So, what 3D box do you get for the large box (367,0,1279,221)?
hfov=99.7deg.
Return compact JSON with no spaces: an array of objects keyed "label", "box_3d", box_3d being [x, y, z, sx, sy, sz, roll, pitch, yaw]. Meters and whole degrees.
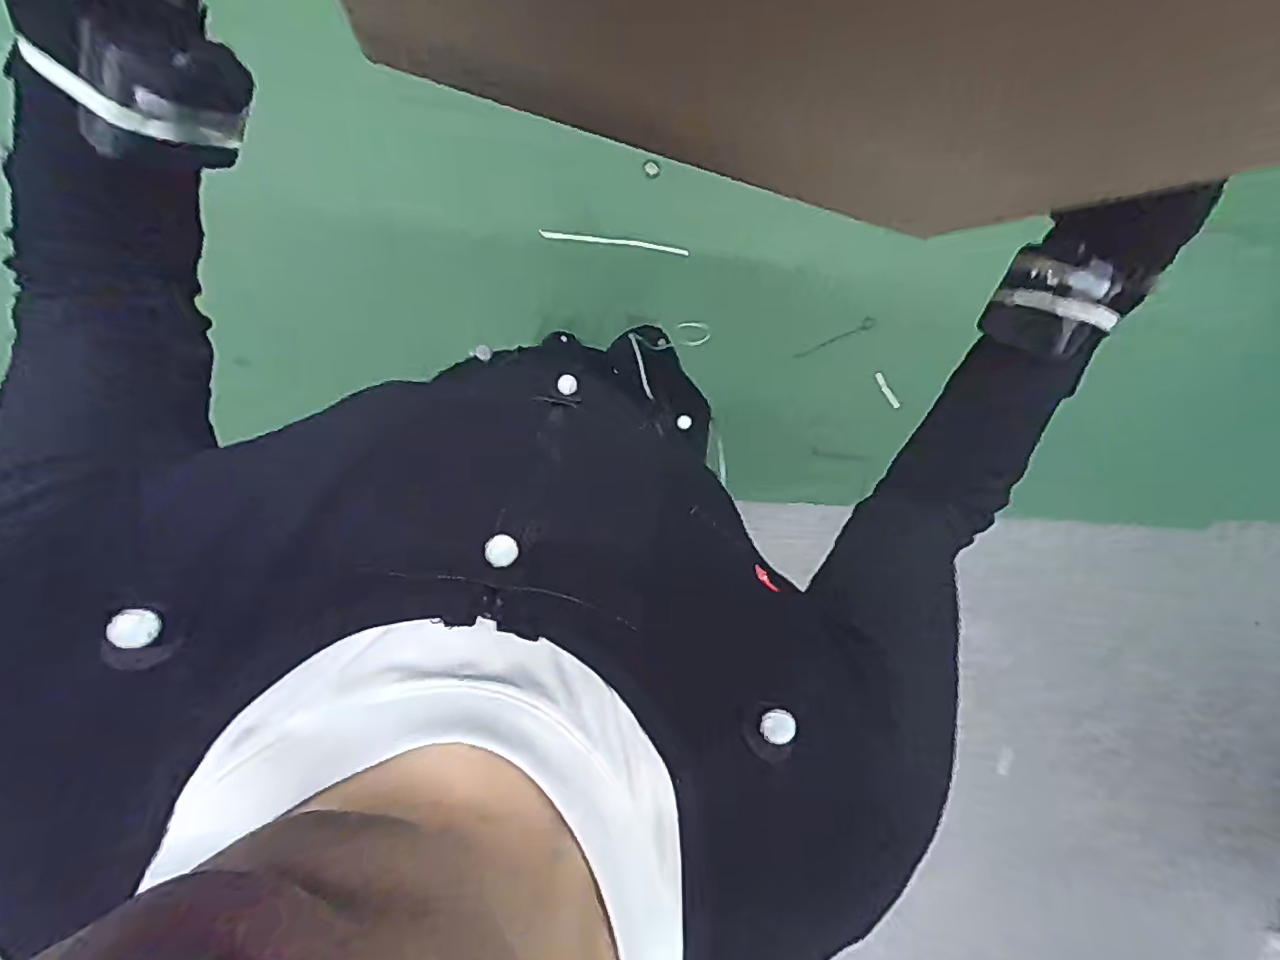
[{"label":"large box","box_3d":[0.106,-0.330,0.195,0.408,0.320,0.320,7,104,-18]}]
